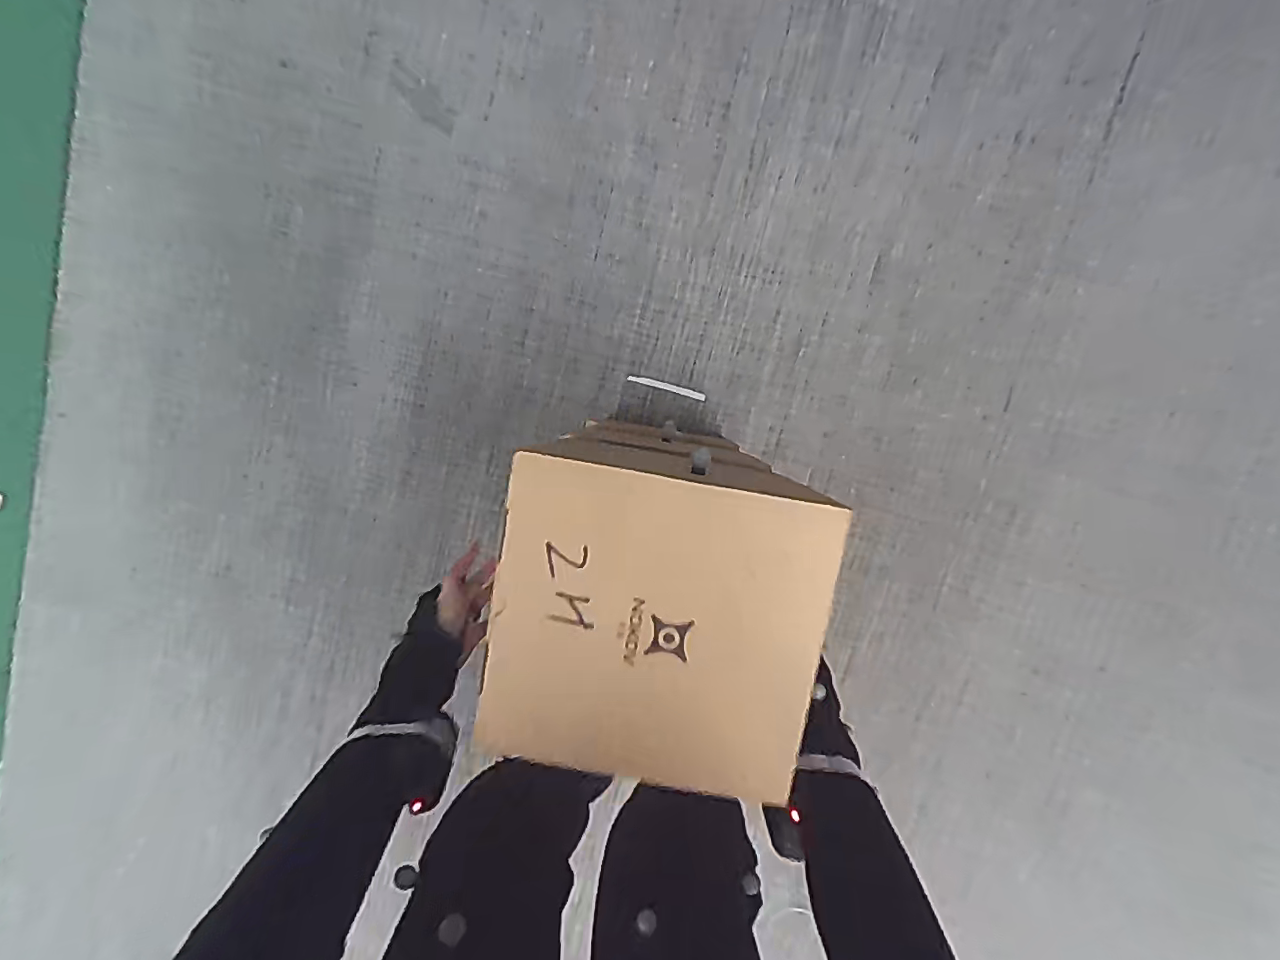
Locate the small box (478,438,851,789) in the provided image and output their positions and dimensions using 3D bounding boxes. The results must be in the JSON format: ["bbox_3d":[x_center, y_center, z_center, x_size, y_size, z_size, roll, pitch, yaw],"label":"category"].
[{"bbox_3d":[0.014,0.066,0.368,0.179,0.176,0.168,11,96,2],"label":"small box"}]

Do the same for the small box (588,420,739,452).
[{"bbox_3d":[0.017,0.016,0.695,0.179,0.176,0.168,11,97,2],"label":"small box"}]

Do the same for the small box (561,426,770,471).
[{"bbox_3d":[0.015,0.043,0.532,0.179,0.176,0.168,10,97,3],"label":"small box"}]
